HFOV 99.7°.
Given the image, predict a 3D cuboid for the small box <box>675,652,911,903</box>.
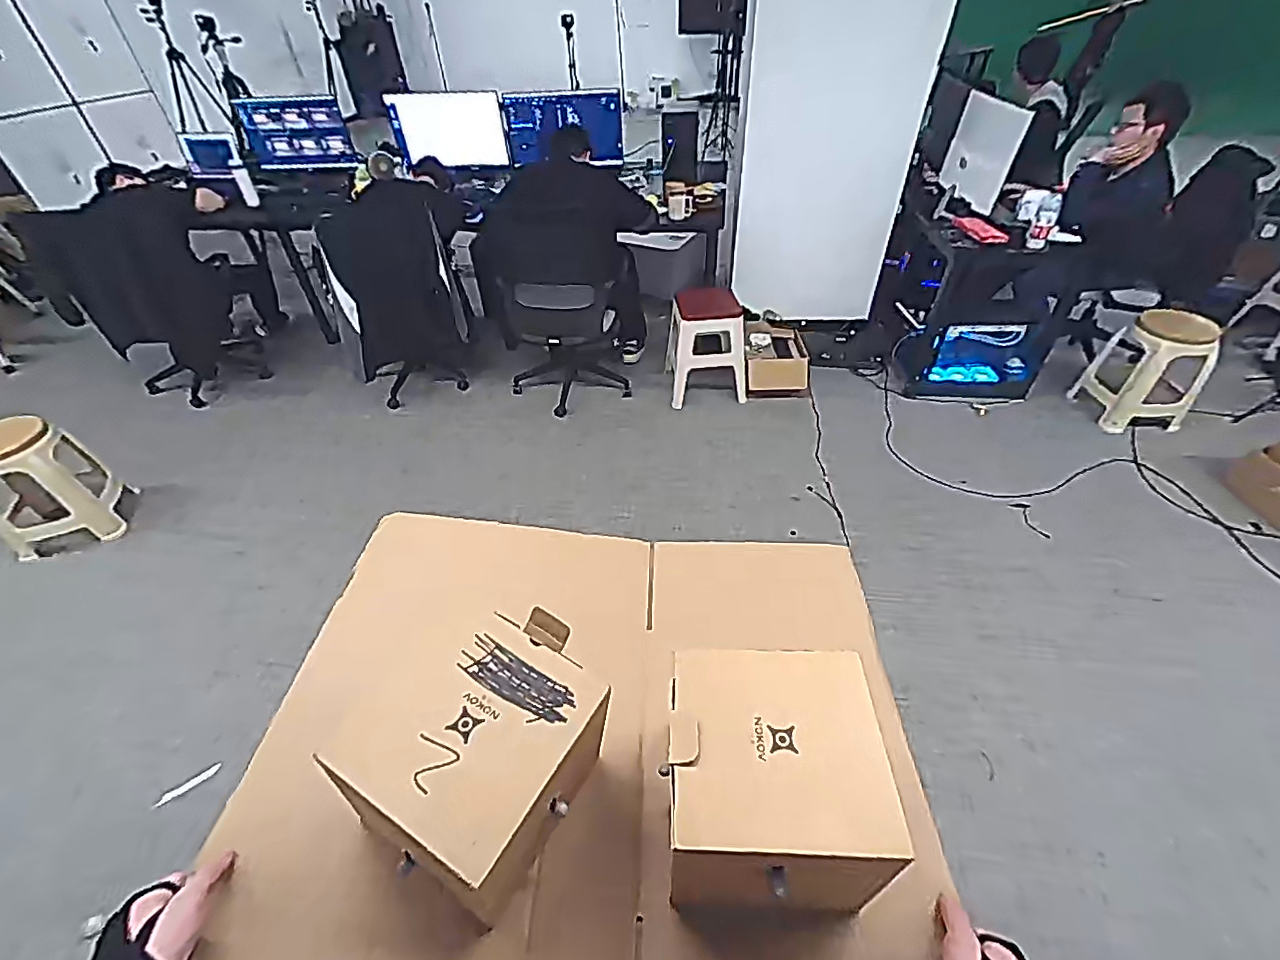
[{"bbox_3d":[0.123,0.283,0.517,0.179,0.176,0.168,-1,42,4],"label":"small box"}]
